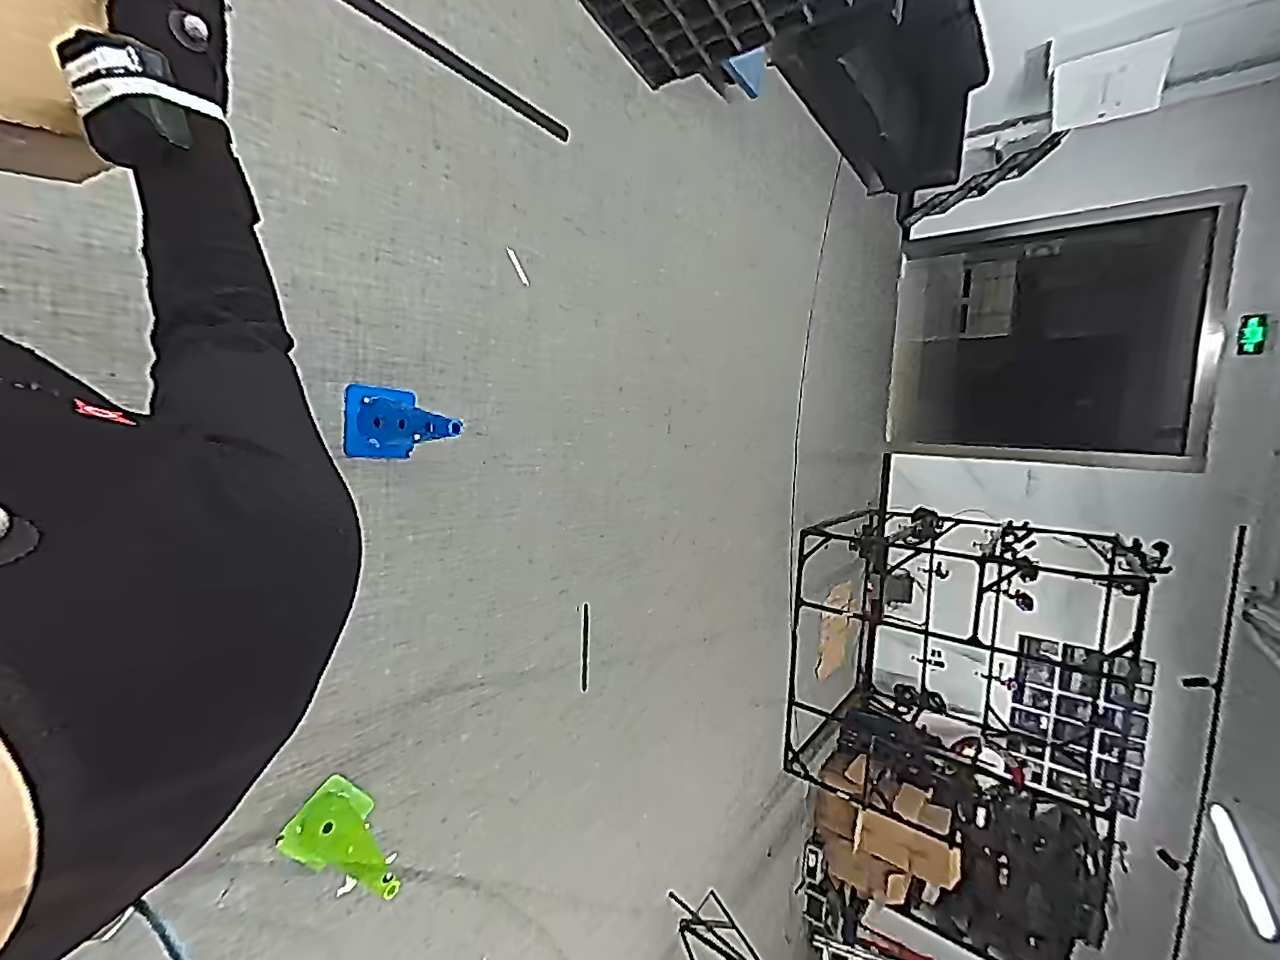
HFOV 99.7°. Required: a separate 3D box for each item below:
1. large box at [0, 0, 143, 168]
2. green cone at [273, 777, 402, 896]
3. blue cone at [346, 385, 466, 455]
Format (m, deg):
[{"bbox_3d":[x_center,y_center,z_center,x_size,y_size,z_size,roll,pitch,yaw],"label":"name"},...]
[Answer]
[{"bbox_3d":[-0.601,-0.404,0.297,0.408,0.320,0.320,-15,117,-51],"label":"large box"},{"bbox_3d":[-0.738,0.970,1.401,0.202,0.368,0.200,-53,134,-36],"label":"green cone"},{"bbox_3d":[-0.601,-0.152,1.434,0.192,0.380,0.193,1,95,-54],"label":"blue cone"}]
